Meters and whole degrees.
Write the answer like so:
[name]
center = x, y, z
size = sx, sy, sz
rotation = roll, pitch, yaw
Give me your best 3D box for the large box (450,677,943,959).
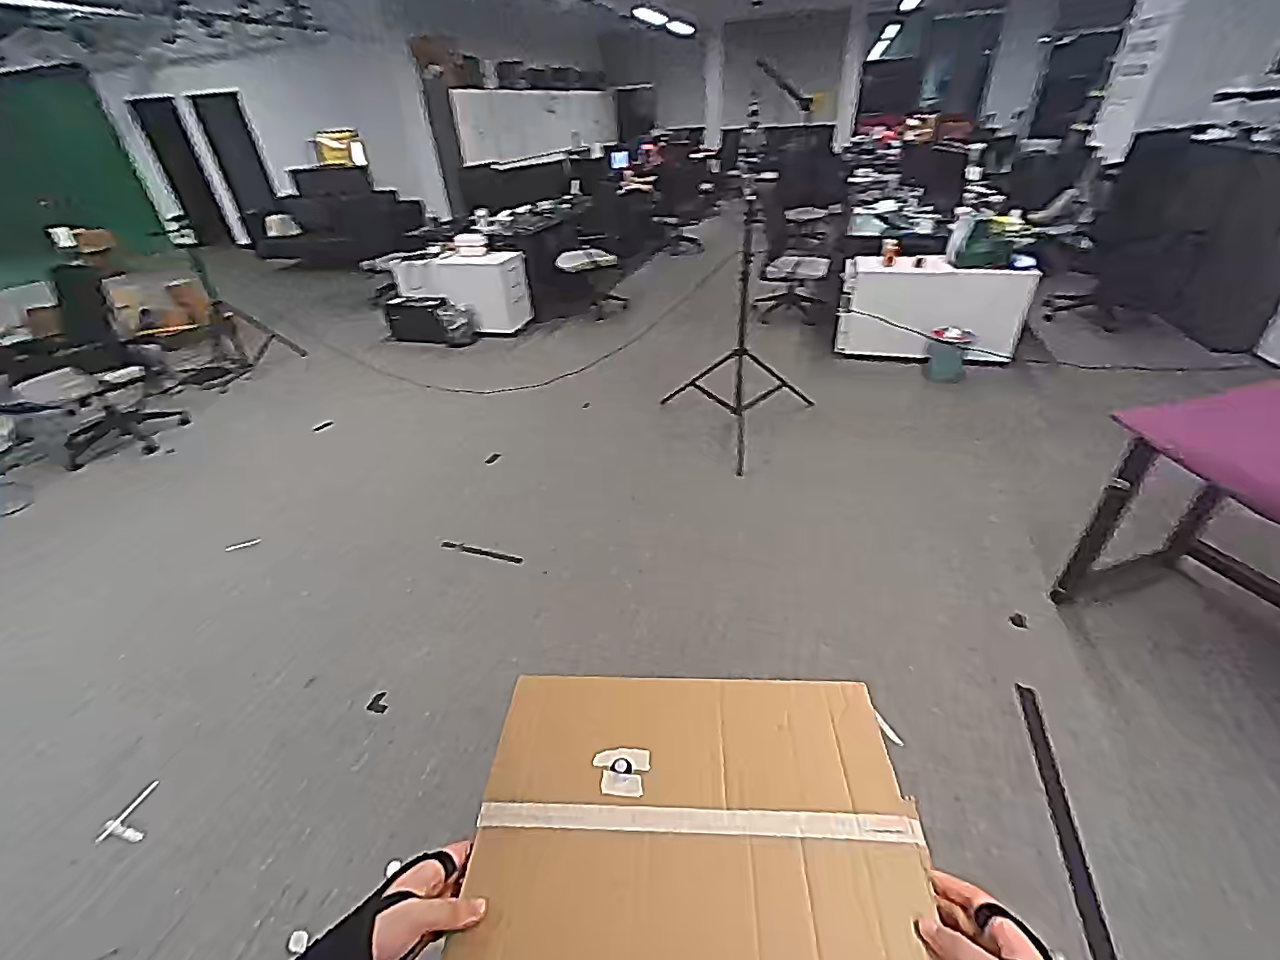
[large box]
center = 0.058, 0.448, 0.602
size = 0.408, 0.320, 0.320
rotation = -3, 34, 5
